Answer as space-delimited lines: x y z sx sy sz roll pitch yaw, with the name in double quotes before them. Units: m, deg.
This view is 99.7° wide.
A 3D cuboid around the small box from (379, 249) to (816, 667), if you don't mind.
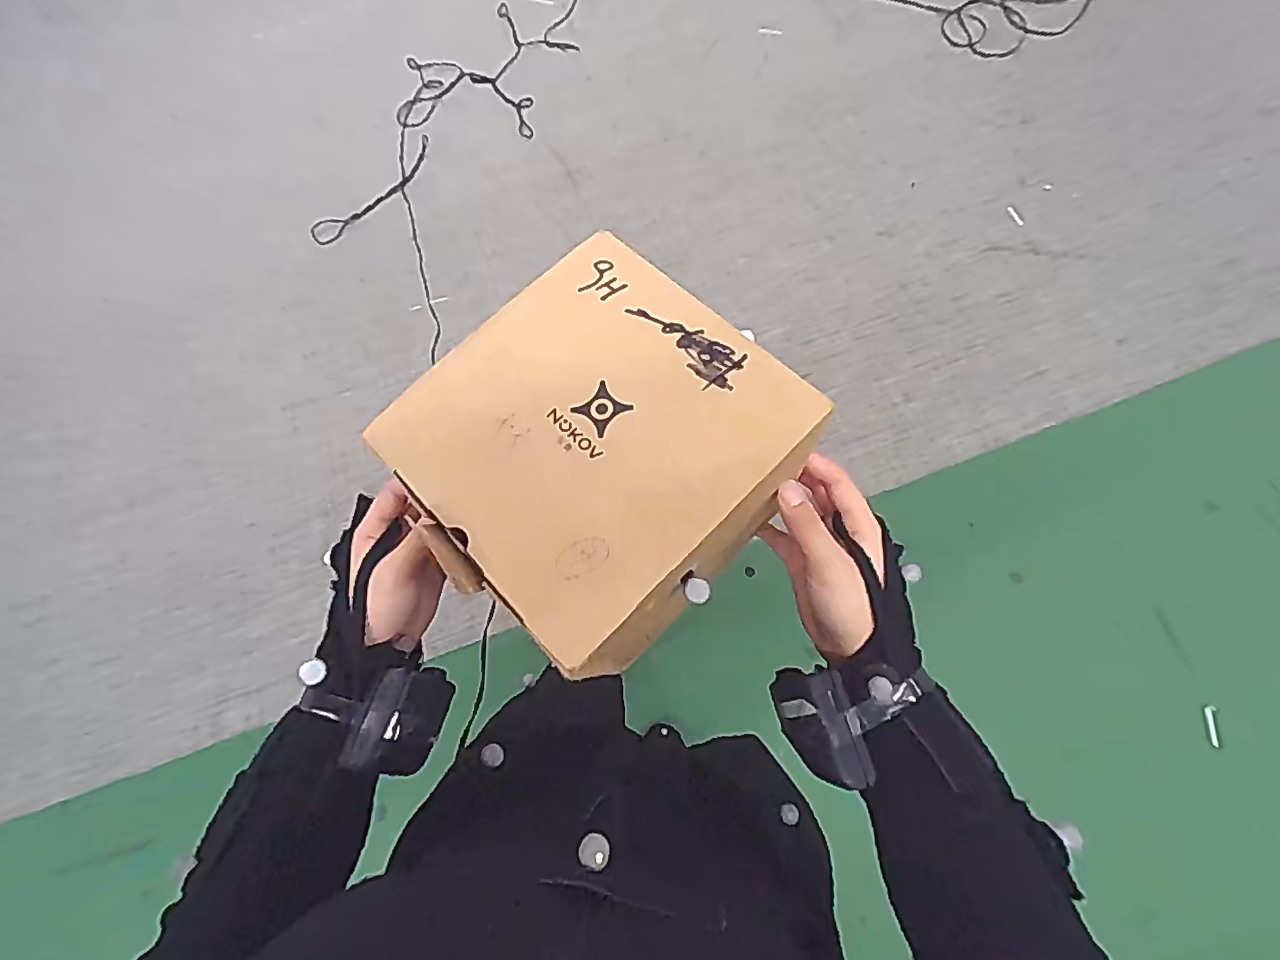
"small box" -0.017 0.001 0.353 0.179 0.176 0.168 -44 72 -9
